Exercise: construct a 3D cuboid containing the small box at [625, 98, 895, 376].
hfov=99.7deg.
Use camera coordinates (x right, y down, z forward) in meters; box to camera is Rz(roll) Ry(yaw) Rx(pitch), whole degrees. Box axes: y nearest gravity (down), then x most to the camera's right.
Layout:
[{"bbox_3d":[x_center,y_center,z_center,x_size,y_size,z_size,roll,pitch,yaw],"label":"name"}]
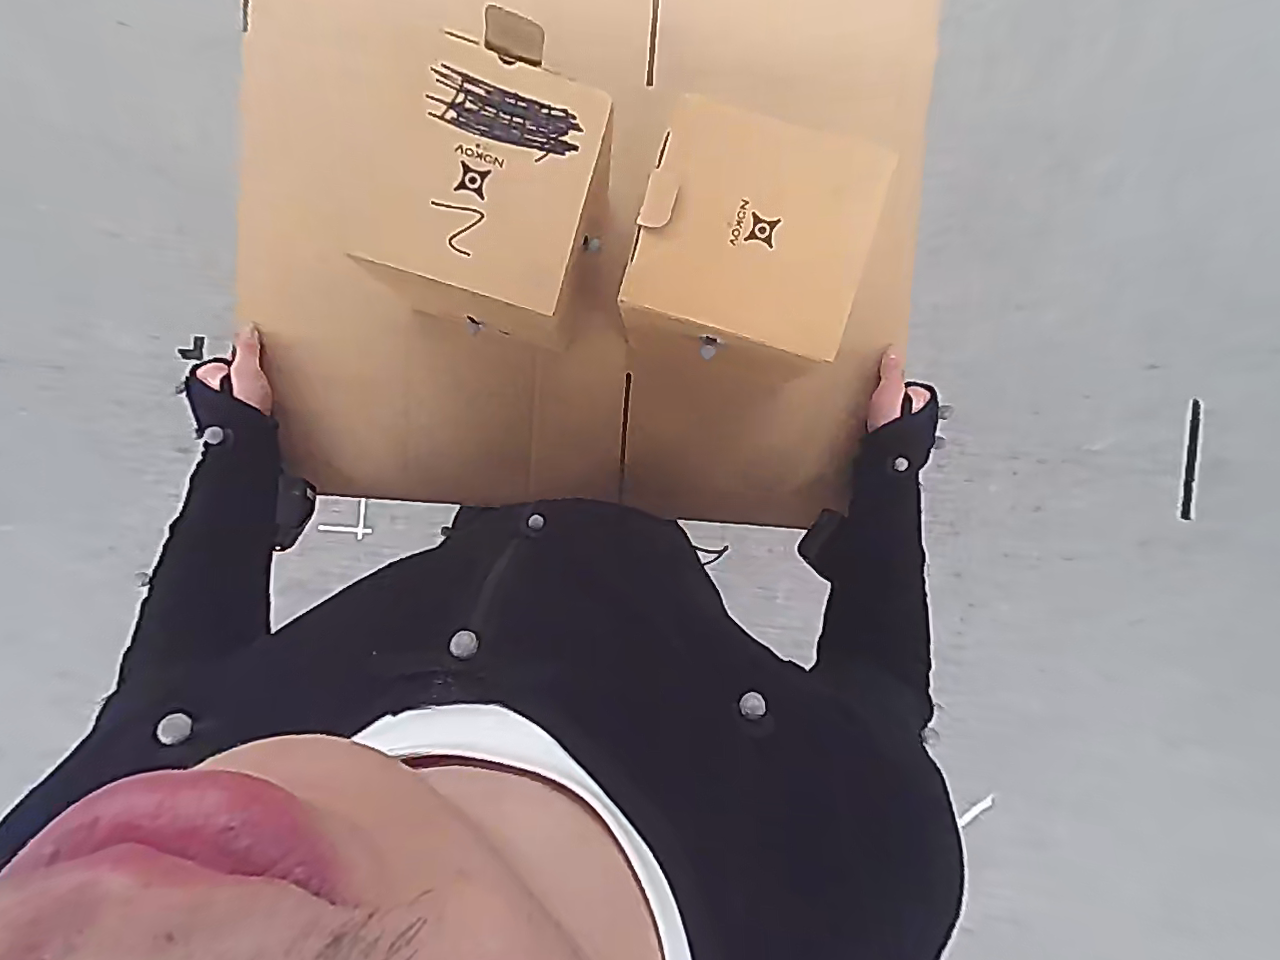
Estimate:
[{"bbox_3d":[0.097,-0.202,0.506,0.179,0.176,0.168,17,94,2],"label":"small box"}]
